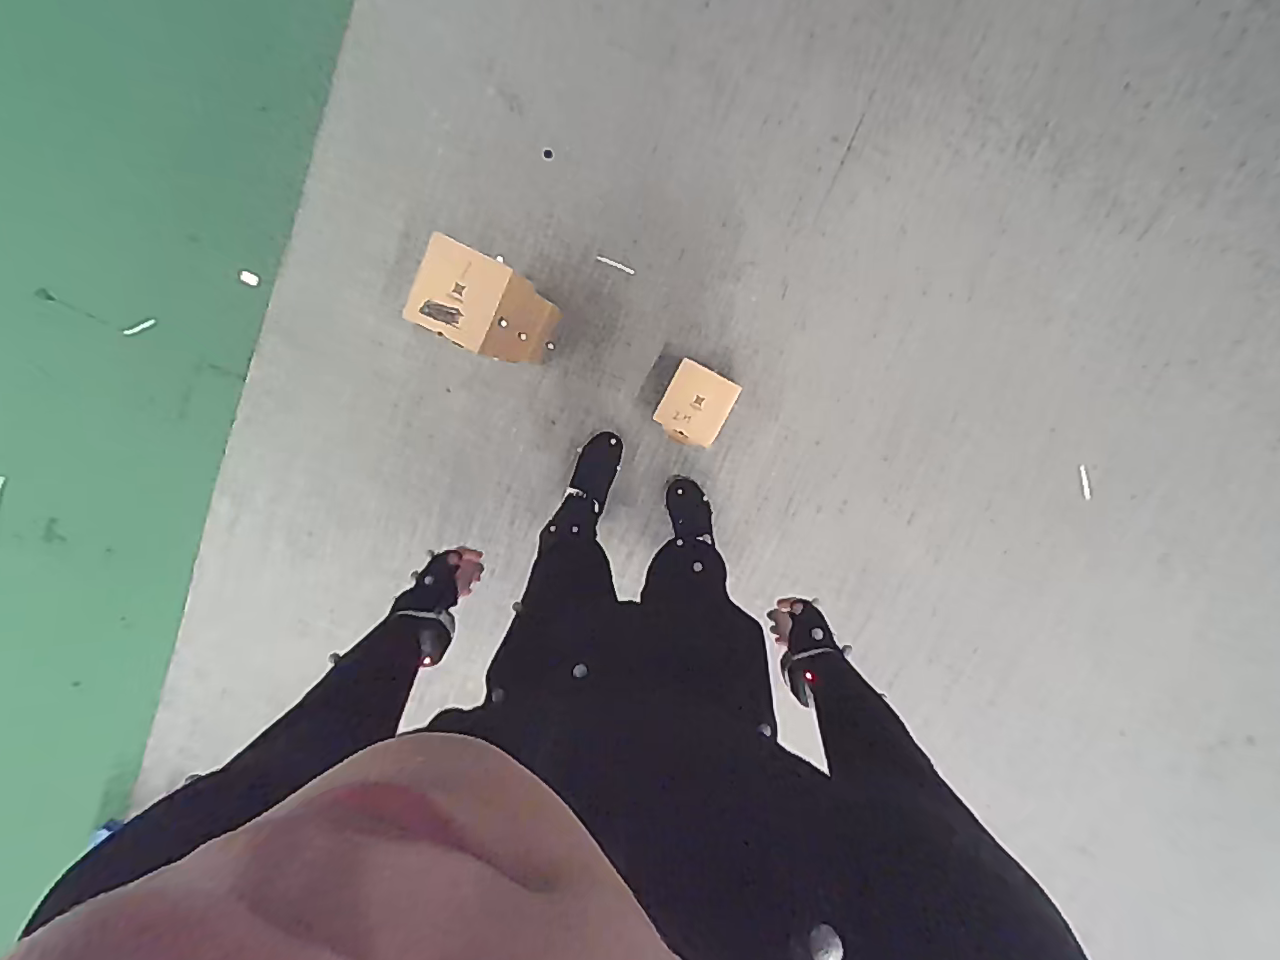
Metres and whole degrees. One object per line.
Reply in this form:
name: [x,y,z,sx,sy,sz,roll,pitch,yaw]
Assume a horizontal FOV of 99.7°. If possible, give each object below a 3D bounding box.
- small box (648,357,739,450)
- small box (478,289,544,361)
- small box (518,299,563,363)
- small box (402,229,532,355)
small box: [0.138,-0.201,1.423,0.168,0.176,0.179,35,100,-1]
small box: [-0.341,-0.390,1.258,0.168,0.176,0.179,28,101,-2]
small box: [-0.326,-0.417,1.418,0.179,0.176,0.168,29,100,-2]
small box: [-0.339,-0.366,1.094,0.168,0.176,0.179,27,100,-1]
